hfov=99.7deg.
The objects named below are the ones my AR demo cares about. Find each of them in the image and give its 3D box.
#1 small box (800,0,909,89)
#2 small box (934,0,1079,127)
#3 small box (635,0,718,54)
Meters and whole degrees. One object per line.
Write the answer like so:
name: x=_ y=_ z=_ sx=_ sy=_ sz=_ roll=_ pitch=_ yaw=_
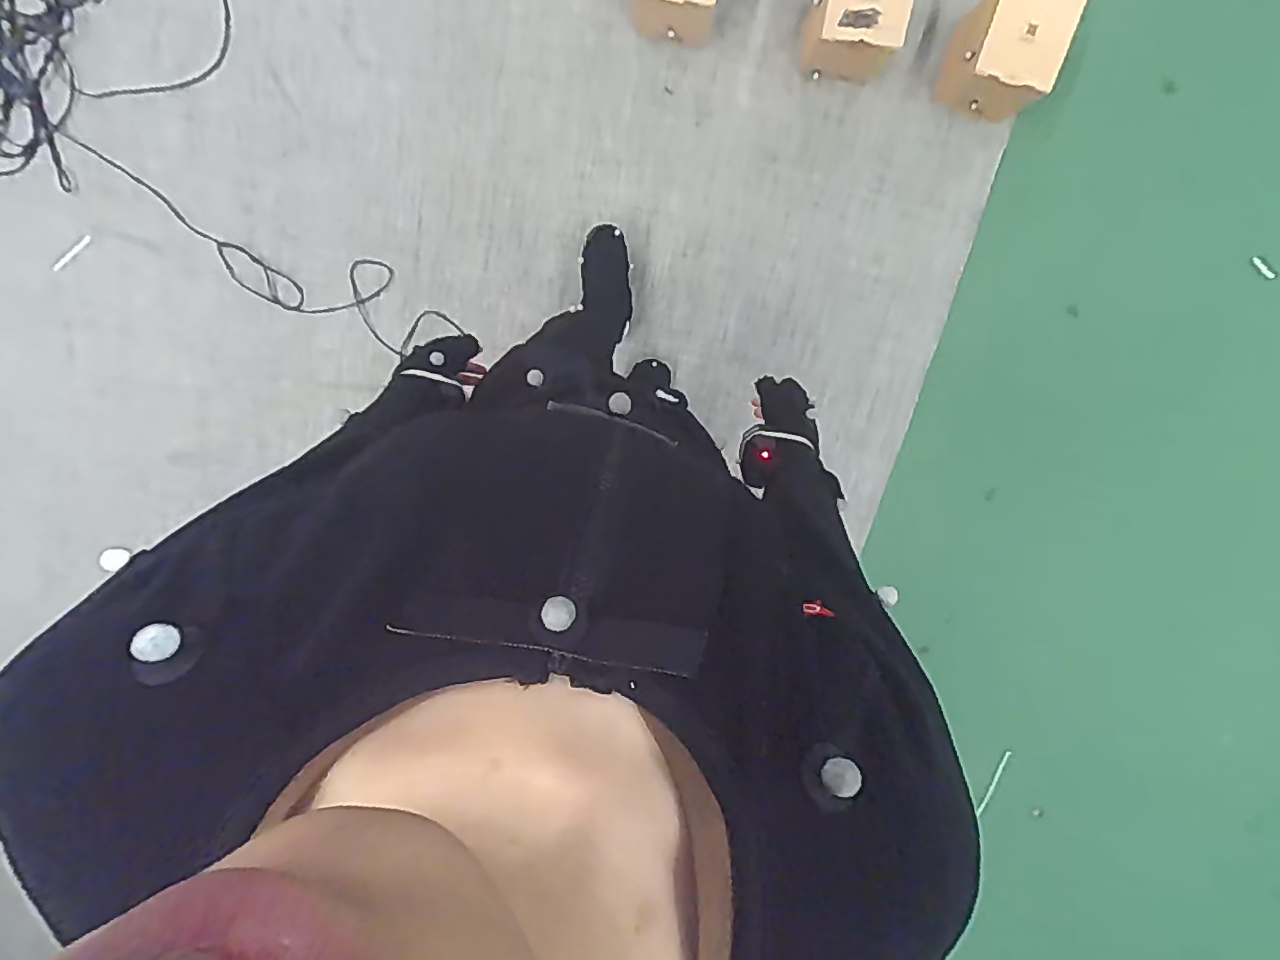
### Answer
small box: x=0.450 y=-0.966 z=1.143 sx=0.168 sy=0.176 sz=0.179 roll=8 pitch=105 yaw=-1
small box: x=0.766 y=-0.898 z=1.155 sx=0.168 sy=0.176 sz=0.179 roll=14 pitch=106 yaw=-2
small box: x=0.084 y=-1.044 z=1.128 sx=0.168 sy=0.176 sz=0.179 roll=11 pitch=106 yaw=0
